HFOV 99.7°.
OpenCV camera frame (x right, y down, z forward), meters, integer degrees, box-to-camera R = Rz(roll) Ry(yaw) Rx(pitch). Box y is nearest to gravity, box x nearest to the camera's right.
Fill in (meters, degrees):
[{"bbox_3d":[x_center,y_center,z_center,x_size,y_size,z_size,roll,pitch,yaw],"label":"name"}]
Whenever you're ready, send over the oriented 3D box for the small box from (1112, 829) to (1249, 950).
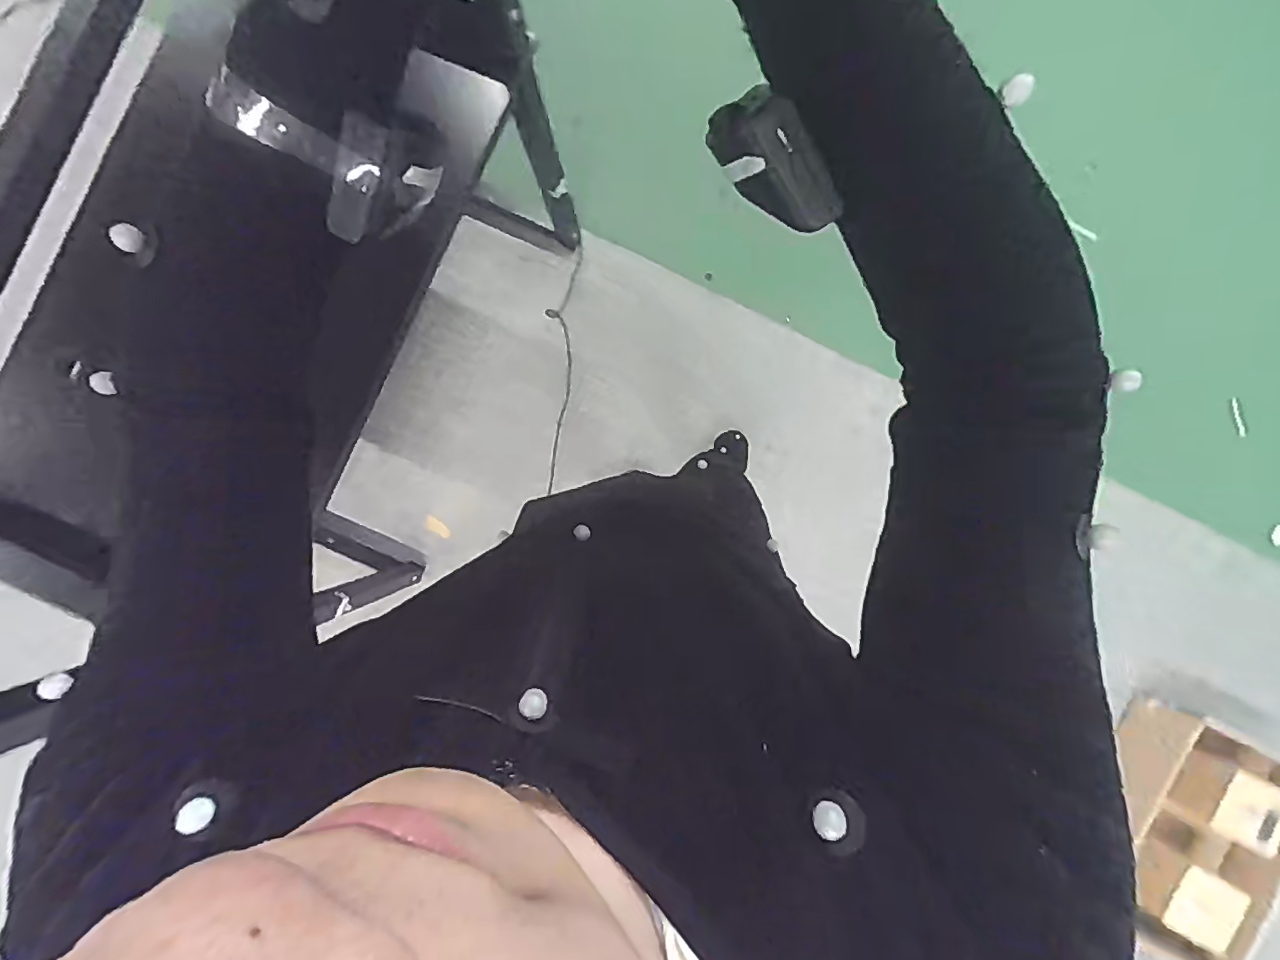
[{"bbox_3d":[1.455,1.098,1.470,0.179,0.176,0.168,29,89,1],"label":"small box"}]
